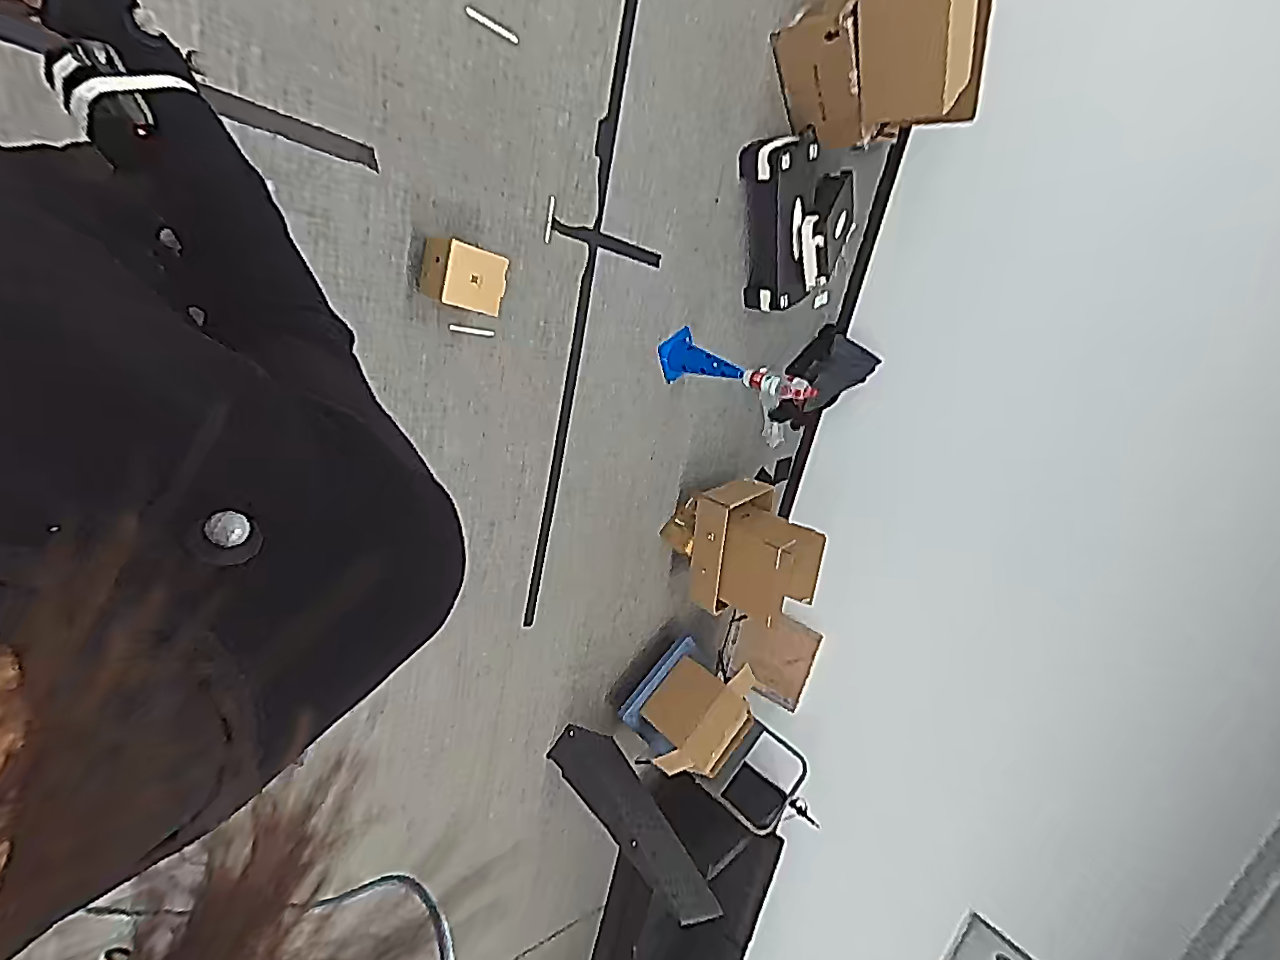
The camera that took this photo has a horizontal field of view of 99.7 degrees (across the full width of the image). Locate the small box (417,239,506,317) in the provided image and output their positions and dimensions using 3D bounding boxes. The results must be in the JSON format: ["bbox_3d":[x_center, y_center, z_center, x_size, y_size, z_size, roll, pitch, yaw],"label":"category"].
[{"bbox_3d":[-0.515,-0.580,1.548,0.179,0.176,0.168,0,110,-47],"label":"small box"}]
